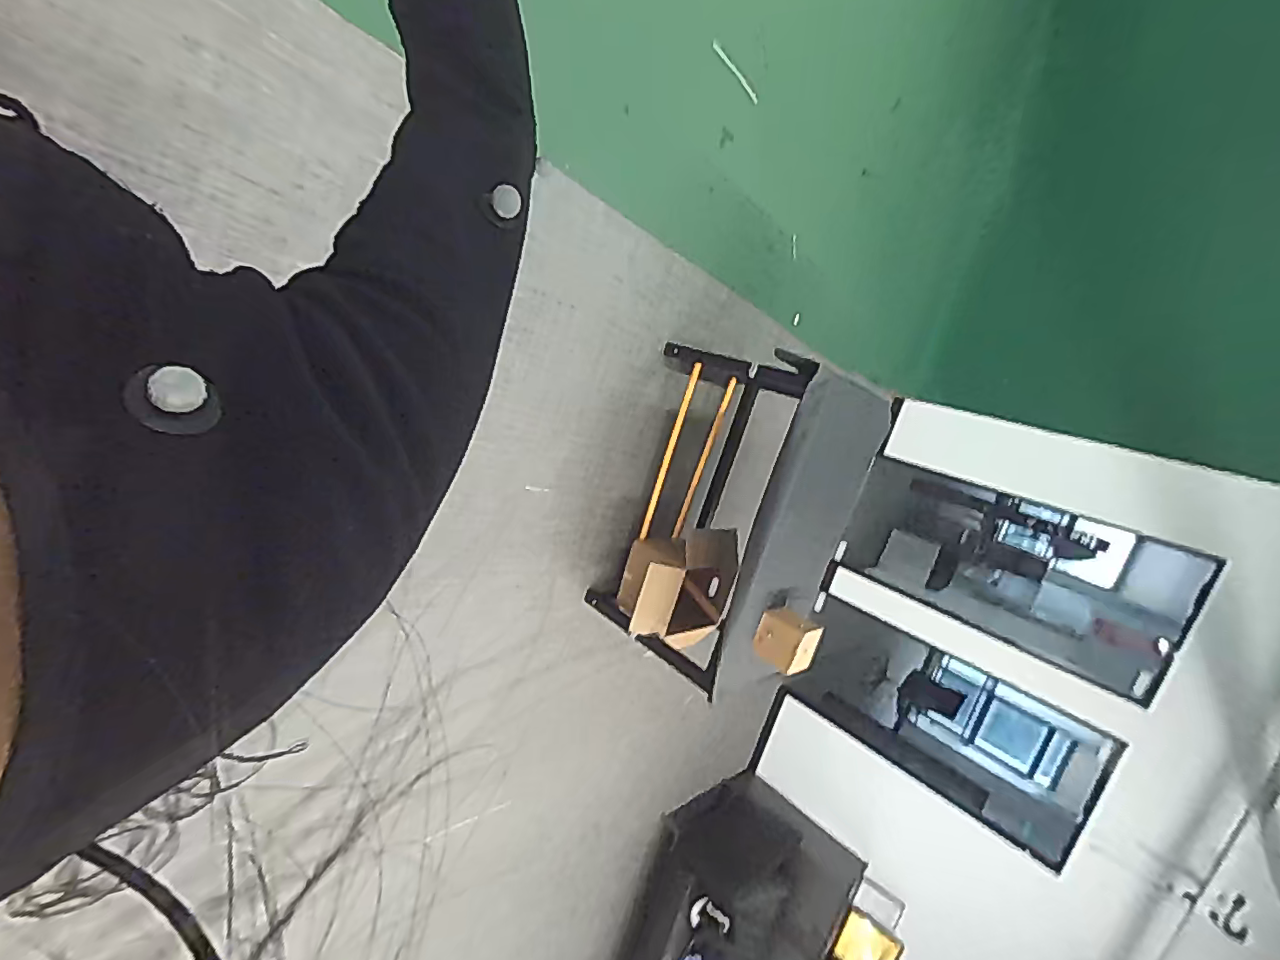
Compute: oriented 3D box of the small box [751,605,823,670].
[{"bbox_3d":[0.546,0.580,2.017,0.179,0.176,0.168,8,104,-49],"label":"small box"}]
